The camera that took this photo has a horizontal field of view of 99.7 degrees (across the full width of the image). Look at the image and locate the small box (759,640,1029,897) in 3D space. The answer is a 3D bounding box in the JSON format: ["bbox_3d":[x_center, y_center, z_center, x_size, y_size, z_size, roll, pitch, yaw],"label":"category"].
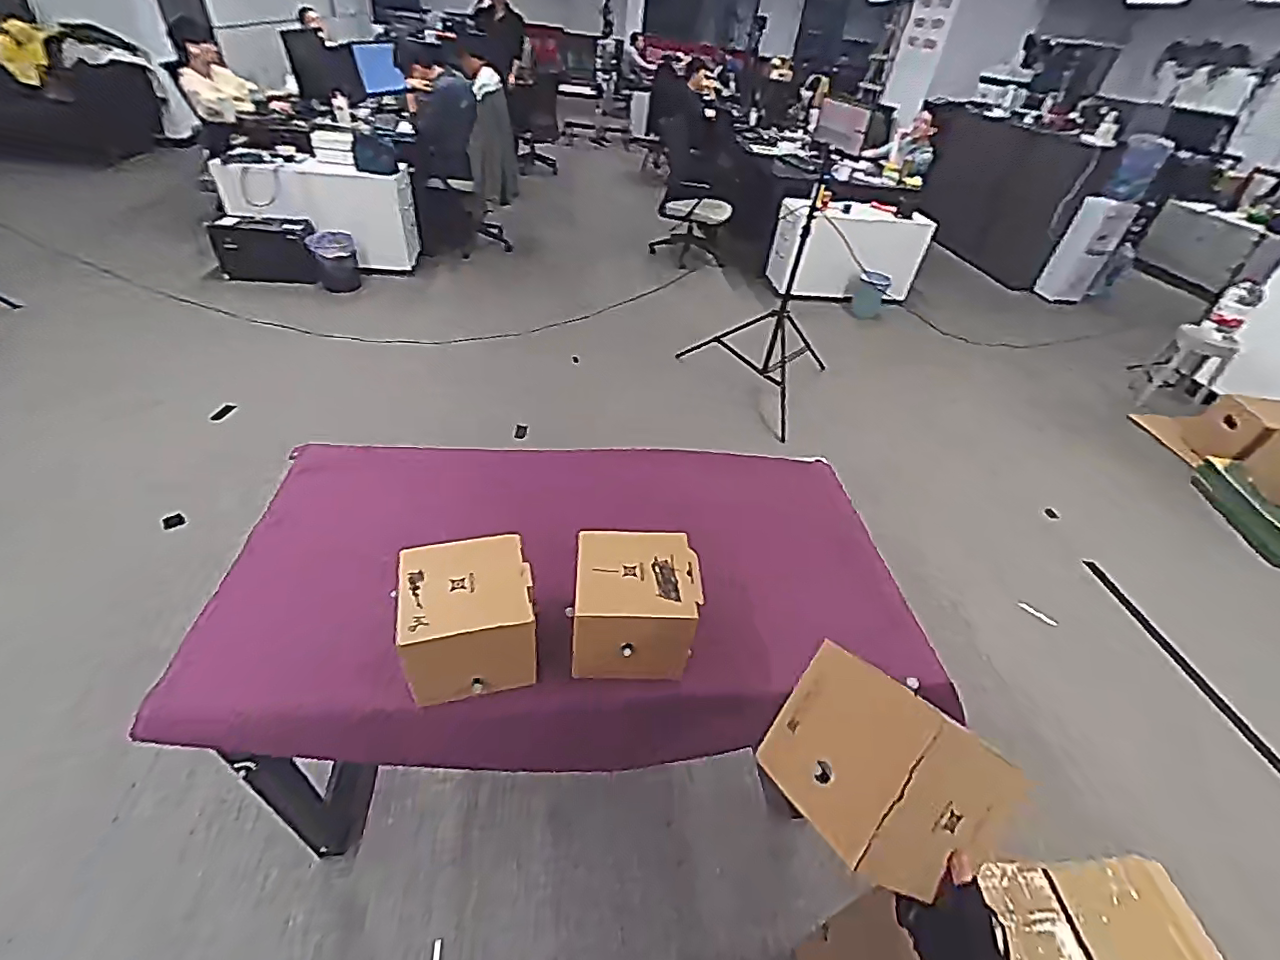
[{"bbox_3d":[0.266,0.302,0.597,0.179,0.168,0.176,33,-2,-24],"label":"small box"}]

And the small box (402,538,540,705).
[{"bbox_3d":[-0.252,0.212,0.818,0.179,0.176,0.168,-6,41,-17],"label":"small box"}]

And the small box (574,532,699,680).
[{"bbox_3d":[-0.012,0.203,0.866,0.179,0.176,0.168,3,40,-5],"label":"small box"}]
